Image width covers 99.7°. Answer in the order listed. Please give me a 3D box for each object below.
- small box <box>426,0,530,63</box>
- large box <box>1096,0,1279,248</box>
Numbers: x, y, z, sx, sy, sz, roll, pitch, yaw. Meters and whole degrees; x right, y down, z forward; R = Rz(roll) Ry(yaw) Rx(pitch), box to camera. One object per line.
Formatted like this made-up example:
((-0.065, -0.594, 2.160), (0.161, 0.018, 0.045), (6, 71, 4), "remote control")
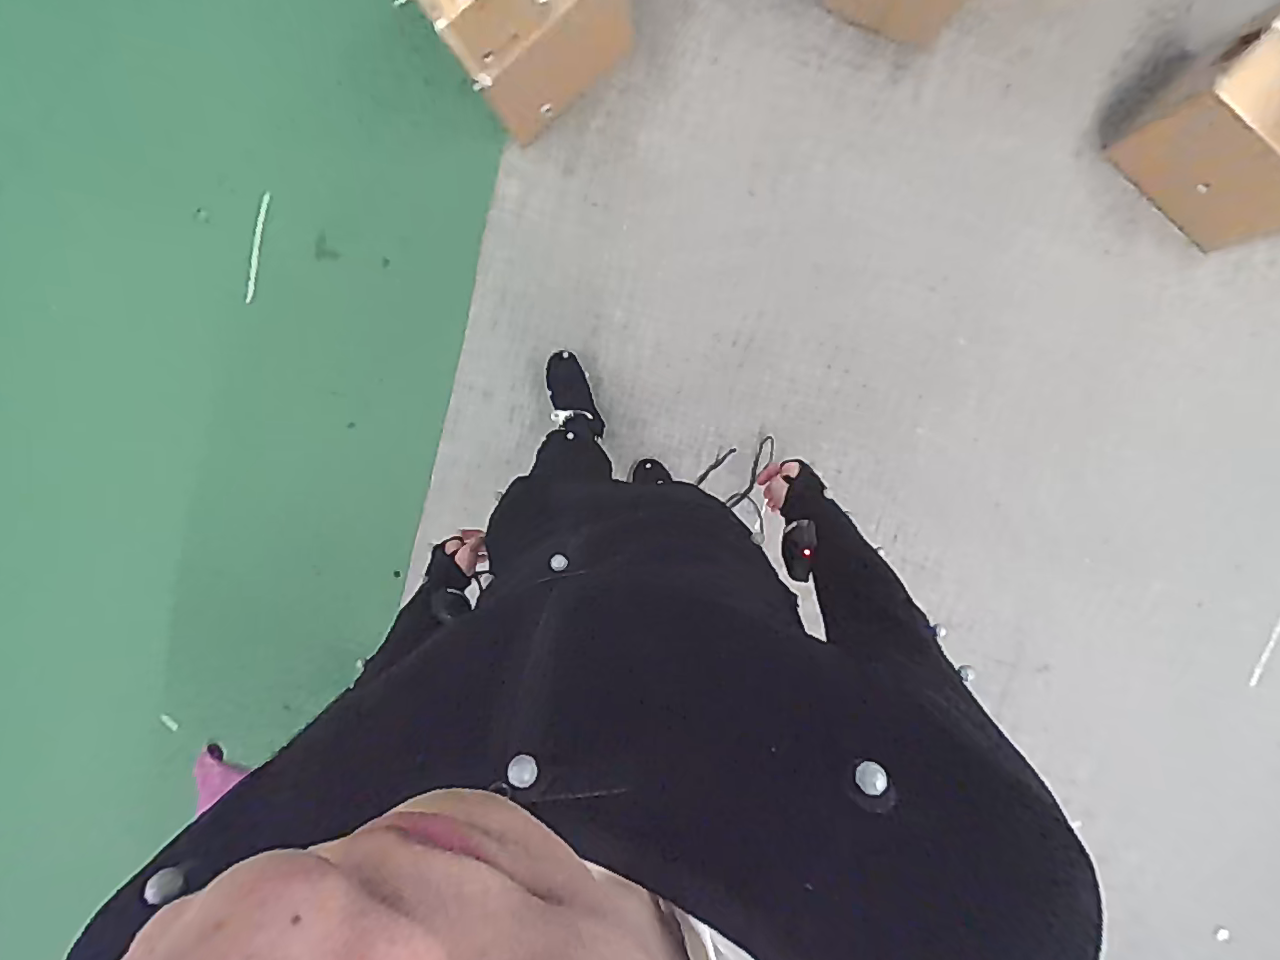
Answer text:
((-0.345, -0.987, 1.080), (0.168, 0.176, 0.179), (-34, 95, 7), "small box")
((1.428, -0.824, 1.258), (0.408, 0.320, 0.320), (40, 98, -2), "large box")
